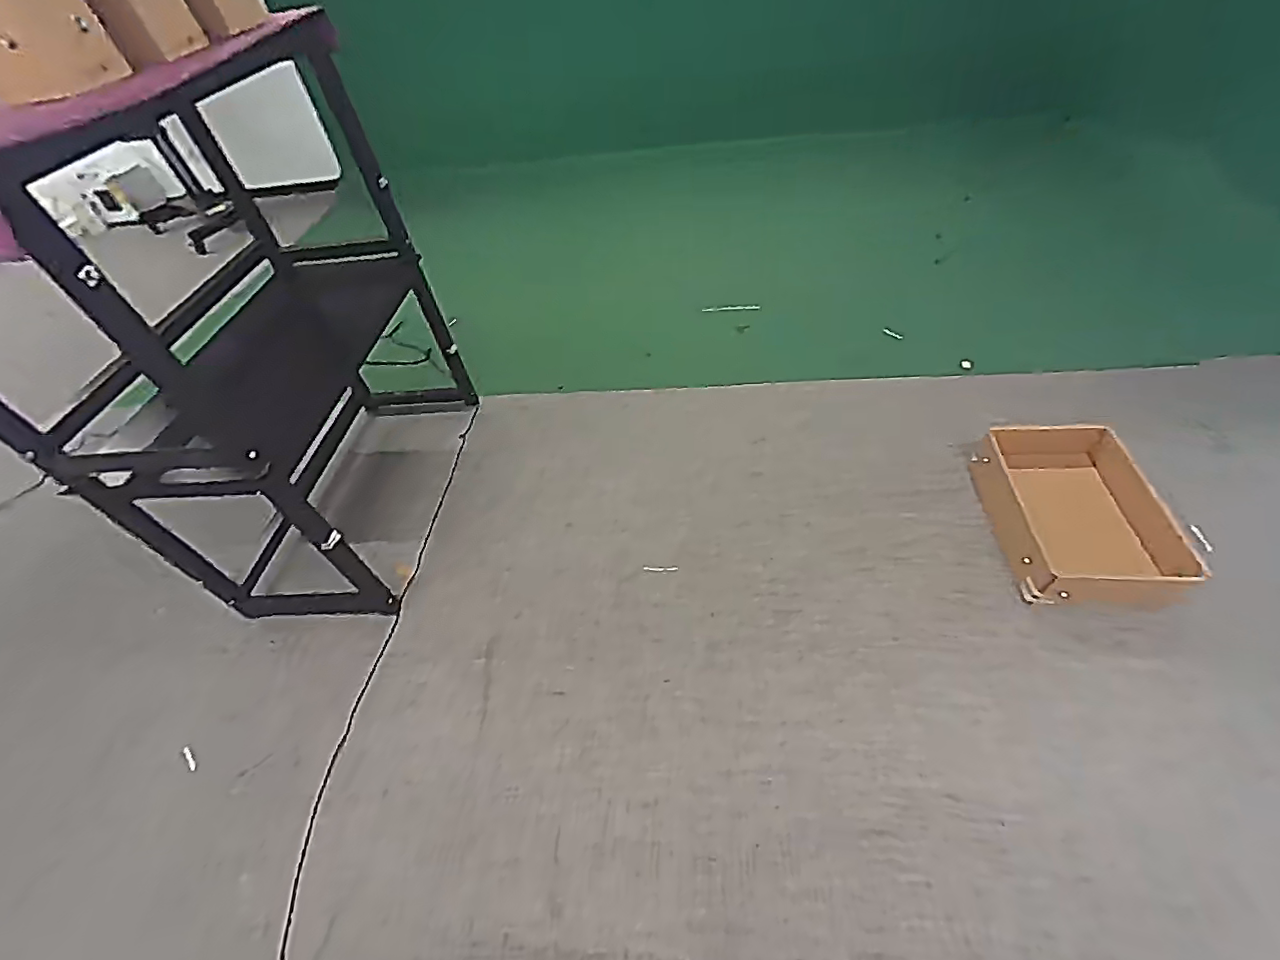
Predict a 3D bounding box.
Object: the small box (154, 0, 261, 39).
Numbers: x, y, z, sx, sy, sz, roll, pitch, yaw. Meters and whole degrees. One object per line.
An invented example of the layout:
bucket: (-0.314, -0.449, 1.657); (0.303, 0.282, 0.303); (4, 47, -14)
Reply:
small box: (-1.121, -1.252, 1.379); (0.168, 0.176, 0.179); (-2, 49, 7)

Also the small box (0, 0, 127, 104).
small box: (-1.148, -0.835, 1.018); (0.179, 0.176, 0.168); (-1, 48, 9)
